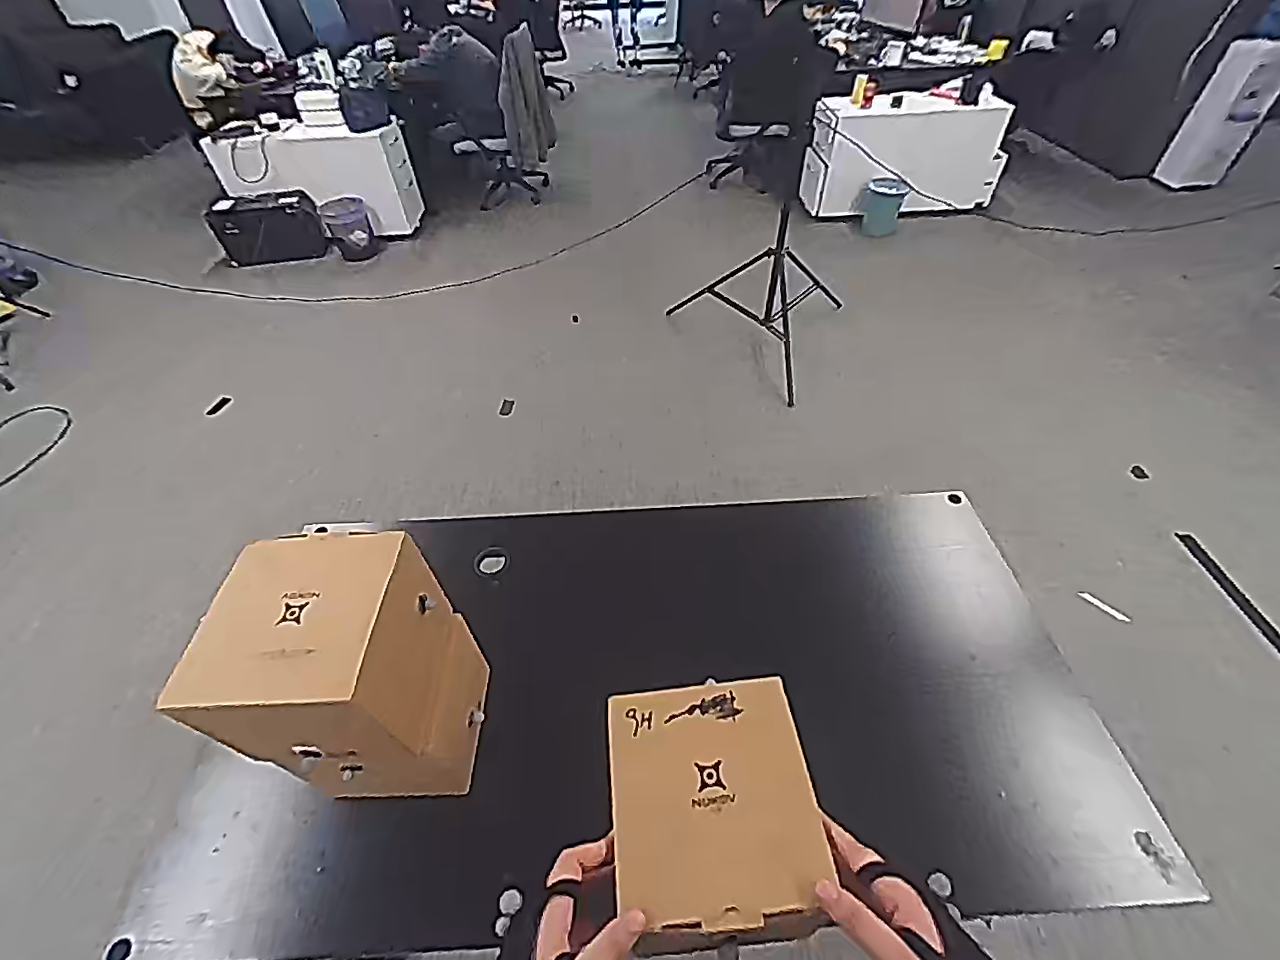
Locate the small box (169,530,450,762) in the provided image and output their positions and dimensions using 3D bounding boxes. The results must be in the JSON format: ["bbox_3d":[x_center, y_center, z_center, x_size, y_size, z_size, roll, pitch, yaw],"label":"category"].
[{"bbox_3d":[-0.312,0.173,0.564,0.168,0.176,0.179,-4,48,1],"label":"small box"}]

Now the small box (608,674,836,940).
[{"bbox_3d":[0.064,0.309,0.508,0.168,0.176,0.179,-7,45,-1],"label":"small box"}]

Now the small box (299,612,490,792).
[{"bbox_3d":[-0.305,0.283,0.684,0.179,0.176,0.168,-1,47,0],"label":"small box"}]
